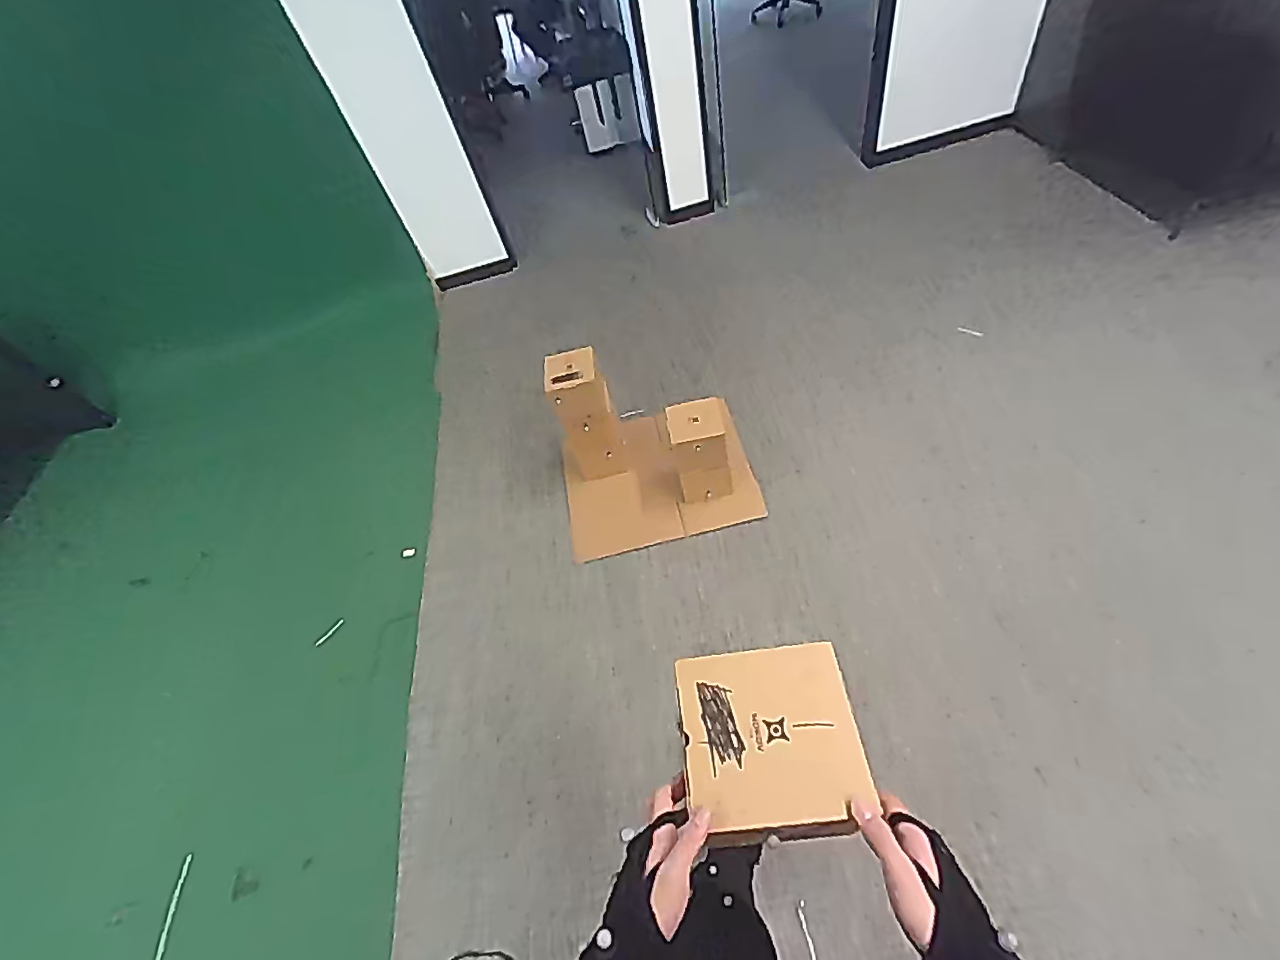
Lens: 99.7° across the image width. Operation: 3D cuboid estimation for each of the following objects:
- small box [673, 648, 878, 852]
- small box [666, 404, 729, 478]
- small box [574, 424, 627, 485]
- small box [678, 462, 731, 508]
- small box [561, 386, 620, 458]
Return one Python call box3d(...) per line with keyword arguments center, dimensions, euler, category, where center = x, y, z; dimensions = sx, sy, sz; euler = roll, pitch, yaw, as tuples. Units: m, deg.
box3d(center=(0.139, 0.306, 0.604), dimensions=(0.179, 0.176, 0.168), euler=(-8, 51, 4), category="small box")
box3d(center=(0.191, -0.124, 1.792), dimensions=(0.179, 0.176, 0.168), euler=(-10, 52, 6), category="small box")
box3d(center=(-0.151, -0.106, 2.070), dimensions=(0.179, 0.176, 0.168), euler=(-13, 50, 4), category="small box")
box3d(center=(0.225, -0.024, 1.917), dimensions=(0.179, 0.176, 0.168), euler=(-12, 51, 5), category="small box")
box3d(center=(-0.175, -0.205, 1.945), dimensions=(0.179, 0.176, 0.168), euler=(-14, 51, 4), category="small box")
